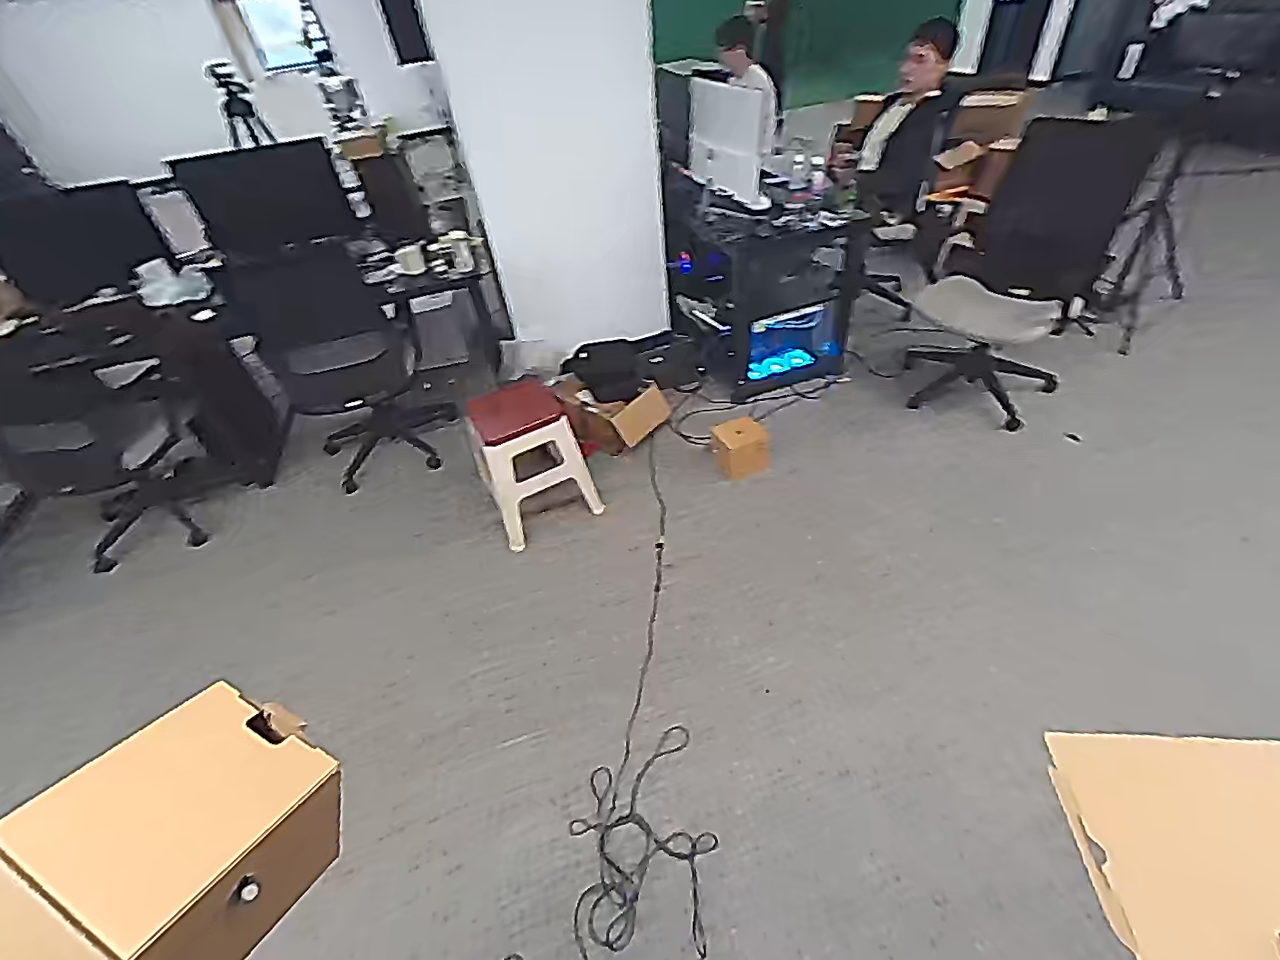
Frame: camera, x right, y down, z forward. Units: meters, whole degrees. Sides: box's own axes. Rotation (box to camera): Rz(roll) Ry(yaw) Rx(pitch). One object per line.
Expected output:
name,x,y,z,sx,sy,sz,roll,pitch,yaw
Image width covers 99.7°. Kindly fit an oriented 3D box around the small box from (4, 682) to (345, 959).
small box,-0.403,0.337,0.501,0.168,0.176,0.179,25,28,14
